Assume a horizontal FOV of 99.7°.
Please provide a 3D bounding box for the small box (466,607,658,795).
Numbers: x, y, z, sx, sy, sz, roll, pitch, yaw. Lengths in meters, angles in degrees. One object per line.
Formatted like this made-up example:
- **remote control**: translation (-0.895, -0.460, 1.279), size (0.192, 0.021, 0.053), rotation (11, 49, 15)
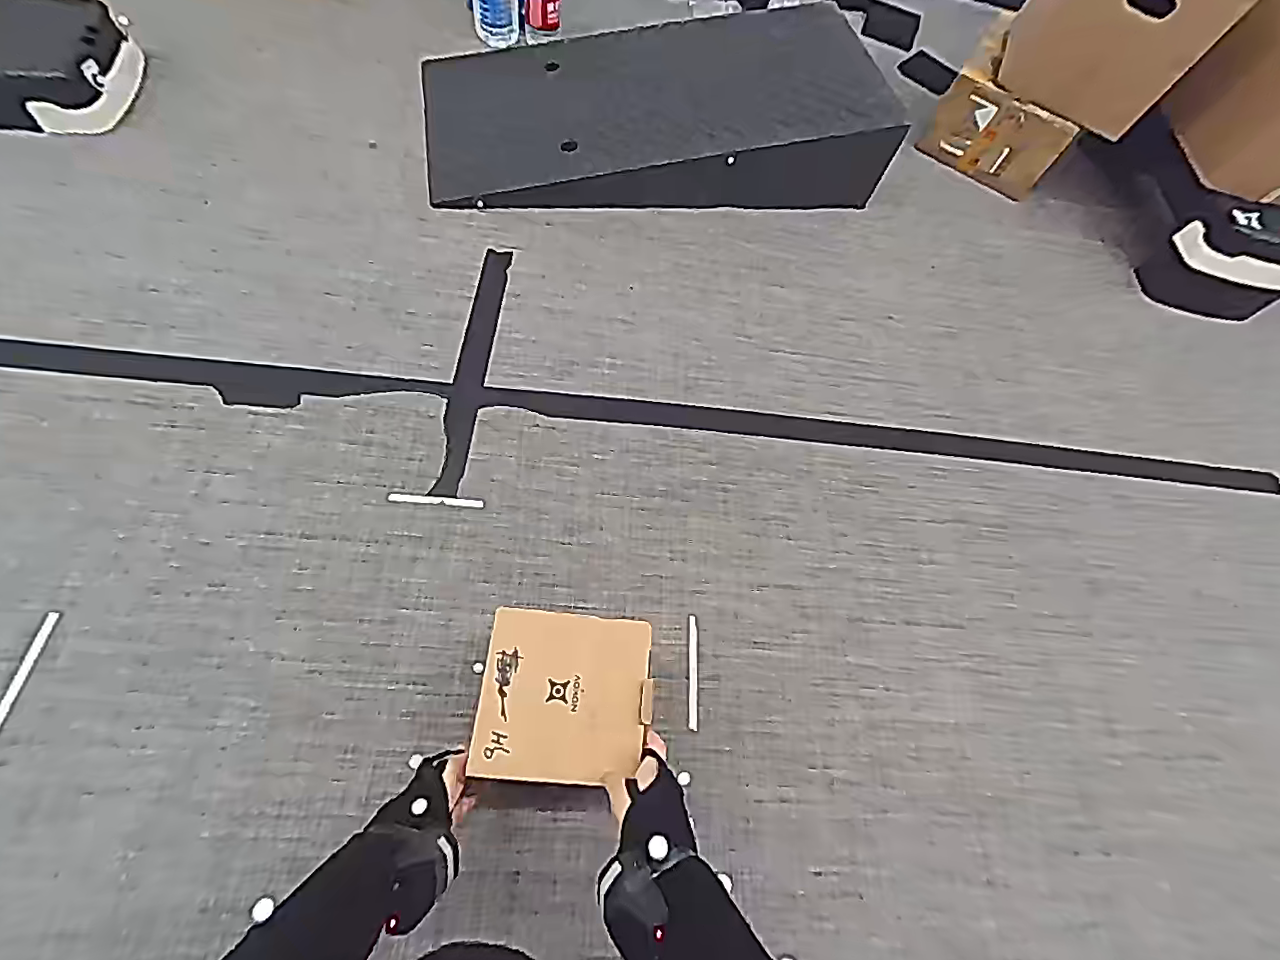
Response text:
- **small box**: translation (-0.086, 0.256, 0.625), size (0.179, 0.176, 0.168), rotation (9, 63, -6)
